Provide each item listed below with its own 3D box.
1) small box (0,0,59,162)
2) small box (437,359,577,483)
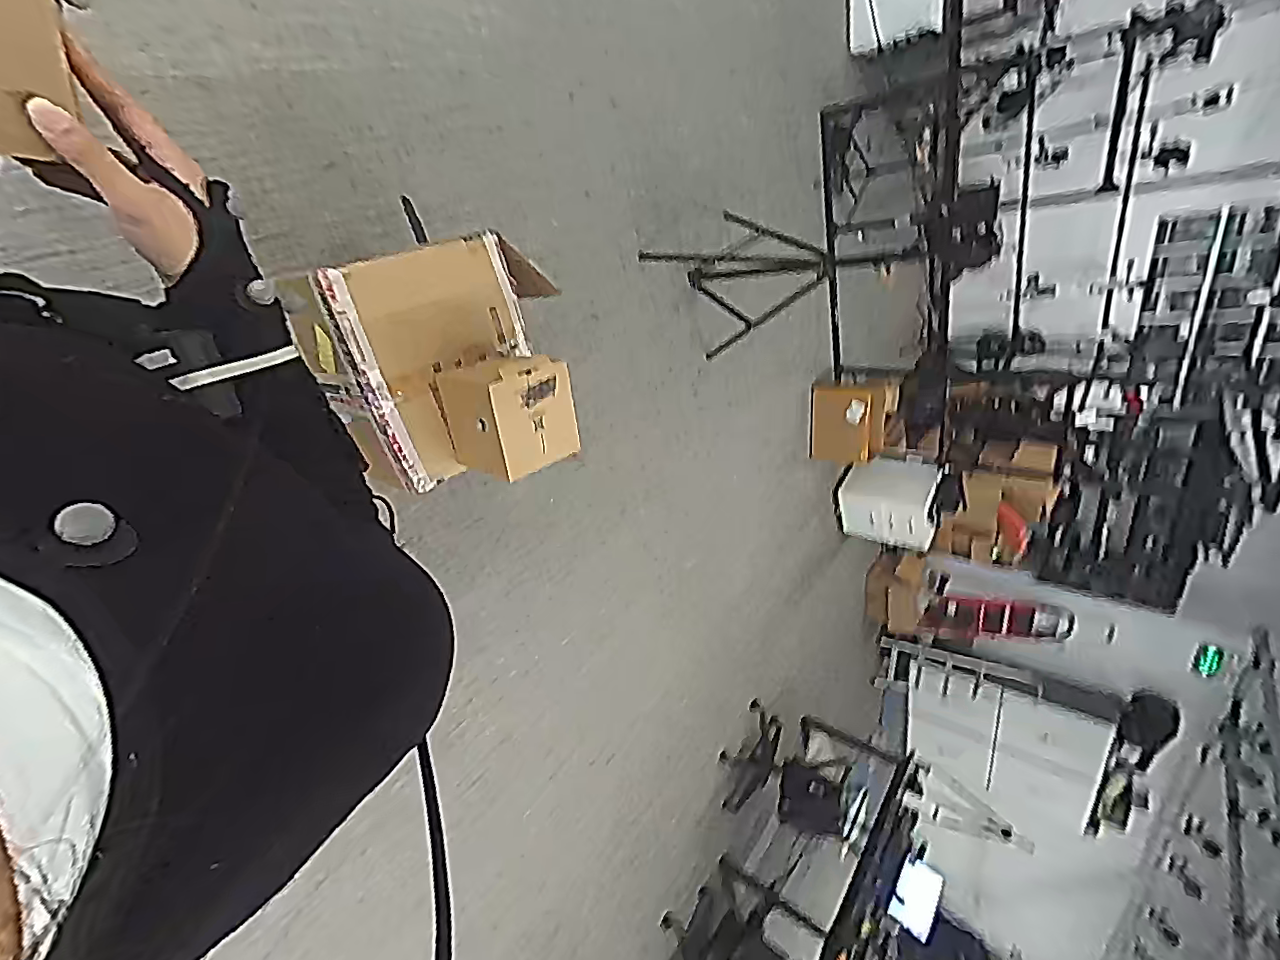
[{"bbox_3d":[-0.400,-0.268,0.242,0.179,0.176,0.168,-8,126,-41],"label":"small box"},{"bbox_3d":[-0.240,-0.117,0.977,0.168,0.176,0.179,-29,124,-40],"label":"small box"}]
